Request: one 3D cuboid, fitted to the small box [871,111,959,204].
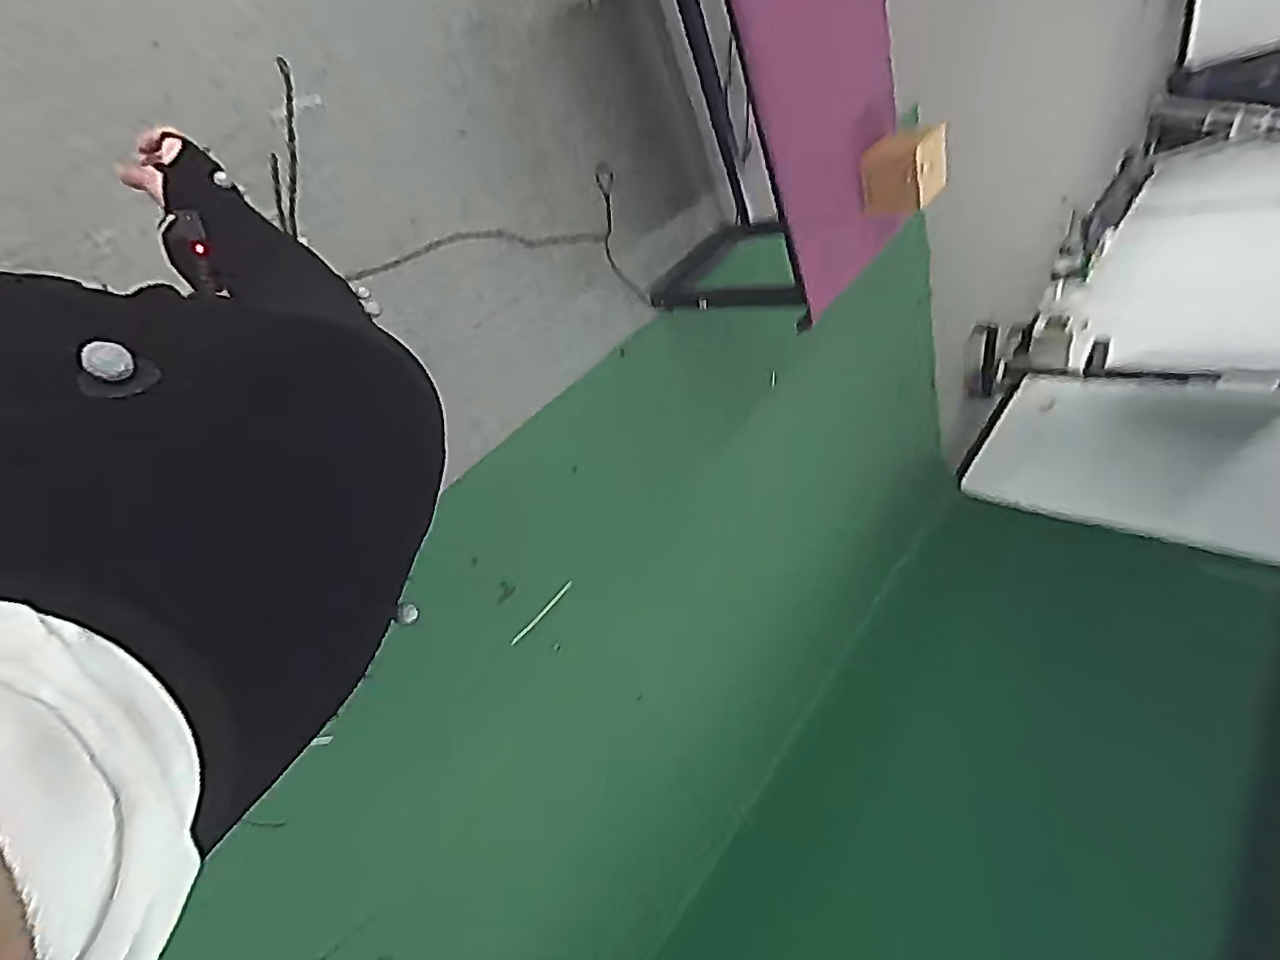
[{"bbox_3d":[0.795,-0.926,1.563,0.179,0.176,0.168,-45,128,-22],"label":"small box"}]
